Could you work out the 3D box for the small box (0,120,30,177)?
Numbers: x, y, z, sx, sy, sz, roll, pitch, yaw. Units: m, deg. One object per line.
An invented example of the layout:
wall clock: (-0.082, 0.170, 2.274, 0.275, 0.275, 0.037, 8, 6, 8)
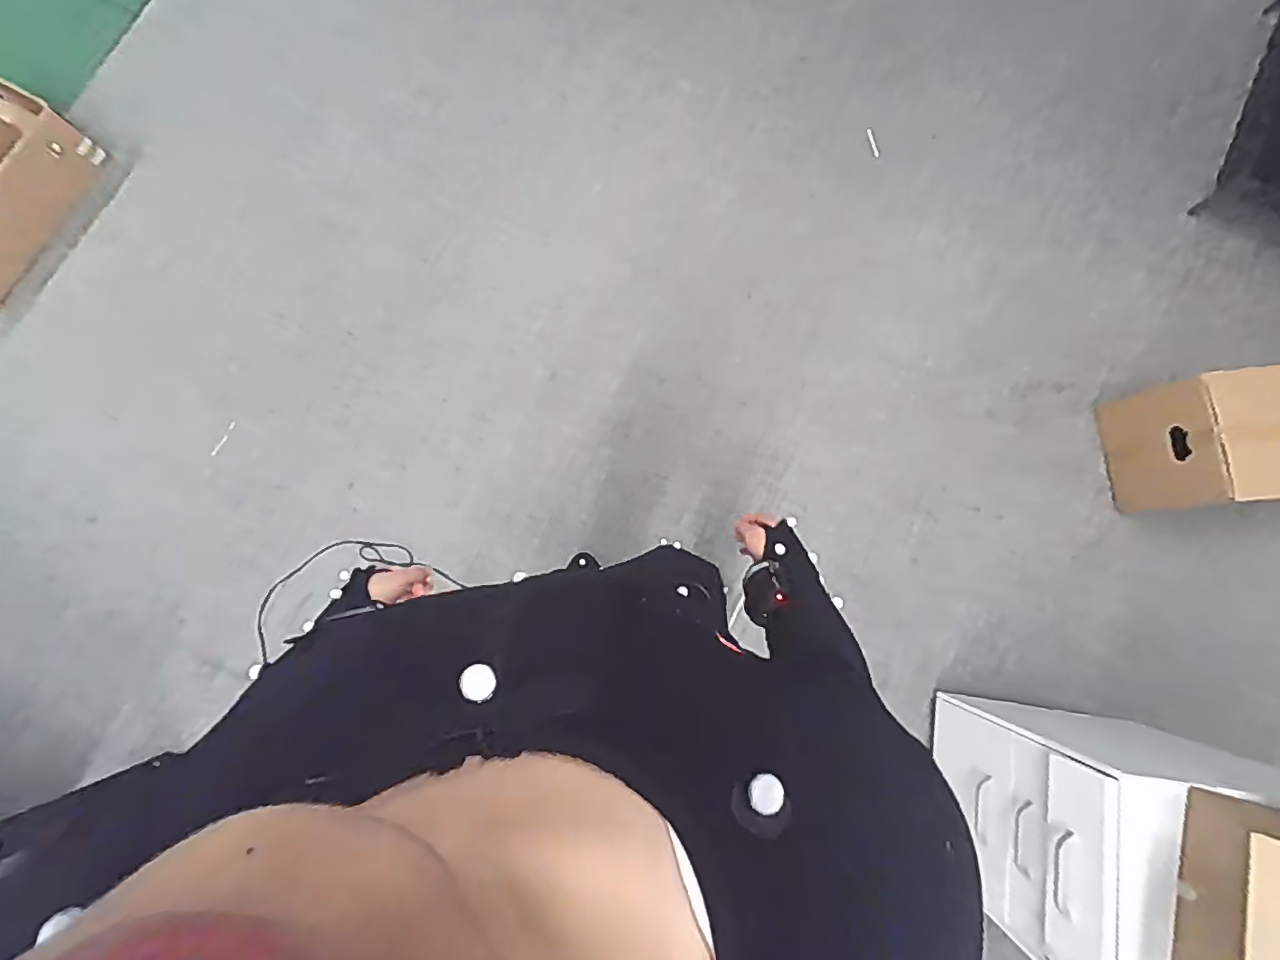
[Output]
small box: (-1.886, -0.973, 1.491, 0.179, 0.176, 0.168, 35, 83, 1)
